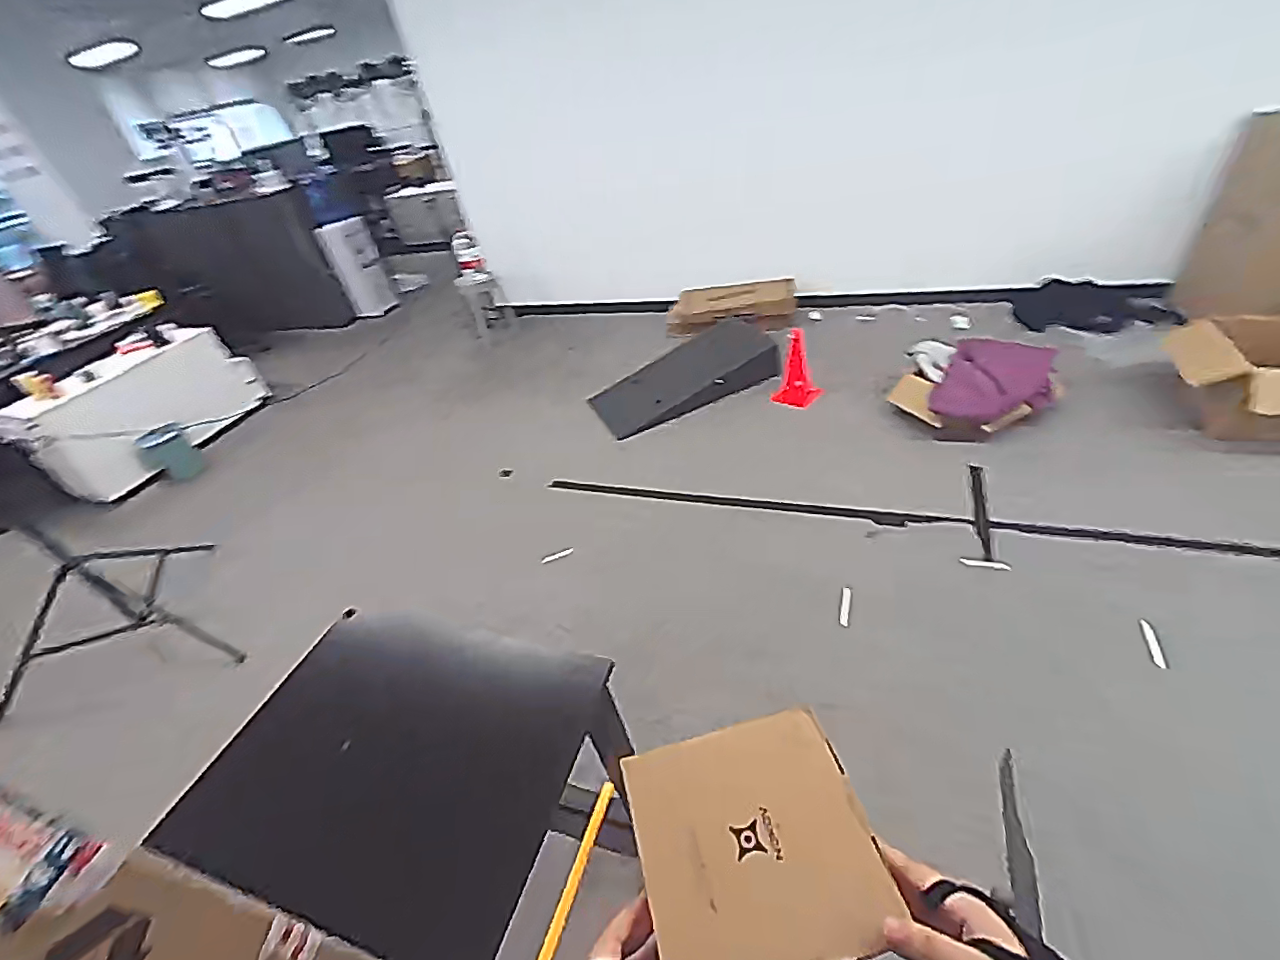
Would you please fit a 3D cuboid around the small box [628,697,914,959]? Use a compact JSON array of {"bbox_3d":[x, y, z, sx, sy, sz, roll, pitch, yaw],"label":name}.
[{"bbox_3d":[0.100,0.324,0.477,0.179,0.176,0.168,-16,45,-3],"label":"small box"}]
